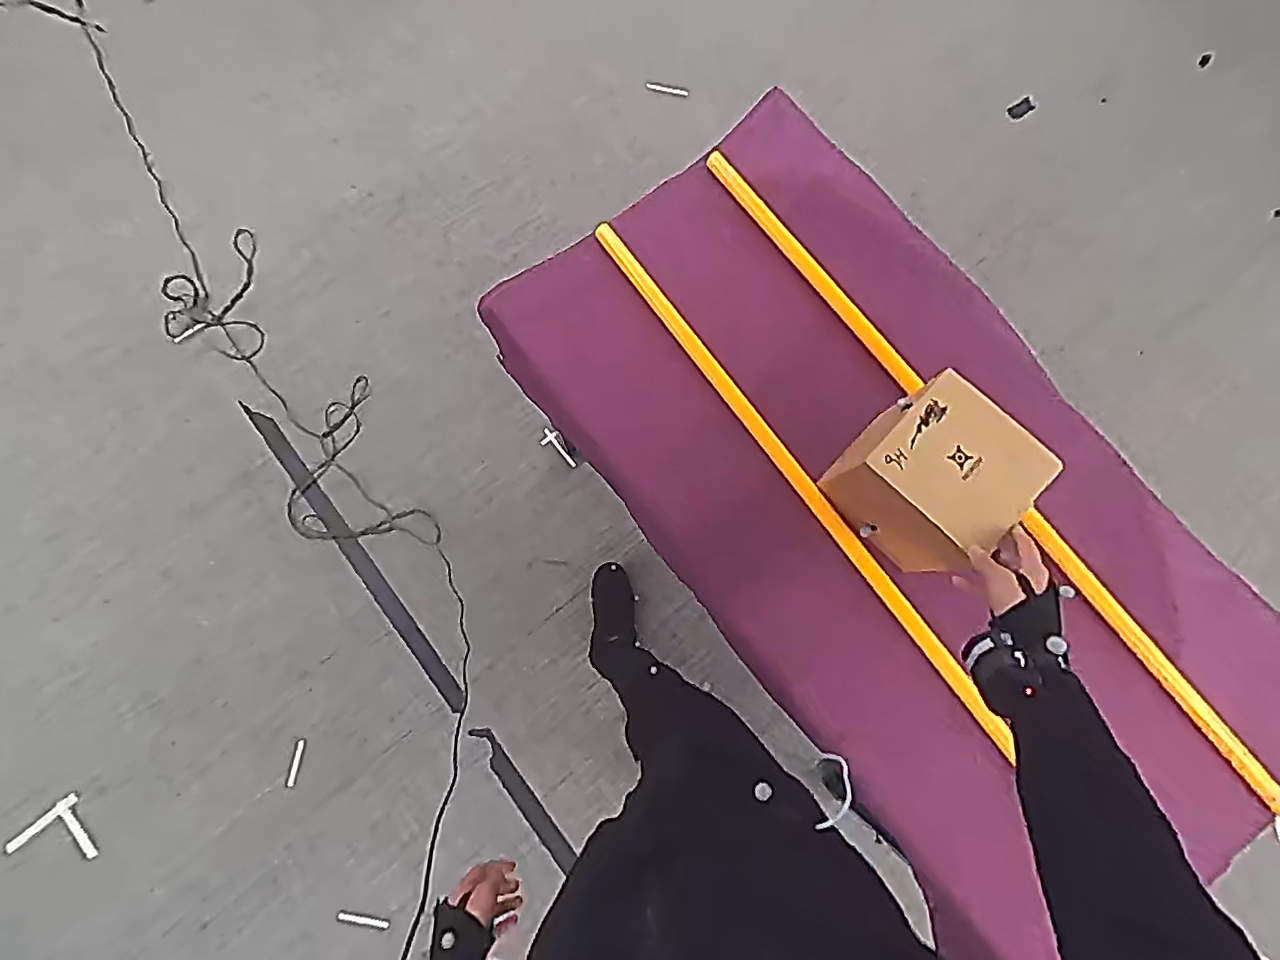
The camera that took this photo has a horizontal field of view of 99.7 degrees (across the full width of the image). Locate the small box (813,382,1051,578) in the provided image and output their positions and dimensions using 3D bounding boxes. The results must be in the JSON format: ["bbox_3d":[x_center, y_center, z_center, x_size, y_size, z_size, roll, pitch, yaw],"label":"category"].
[{"bbox_3d":[0.365,0.008,0.710,0.179,0.176,0.168,45,81,6],"label":"small box"}]
